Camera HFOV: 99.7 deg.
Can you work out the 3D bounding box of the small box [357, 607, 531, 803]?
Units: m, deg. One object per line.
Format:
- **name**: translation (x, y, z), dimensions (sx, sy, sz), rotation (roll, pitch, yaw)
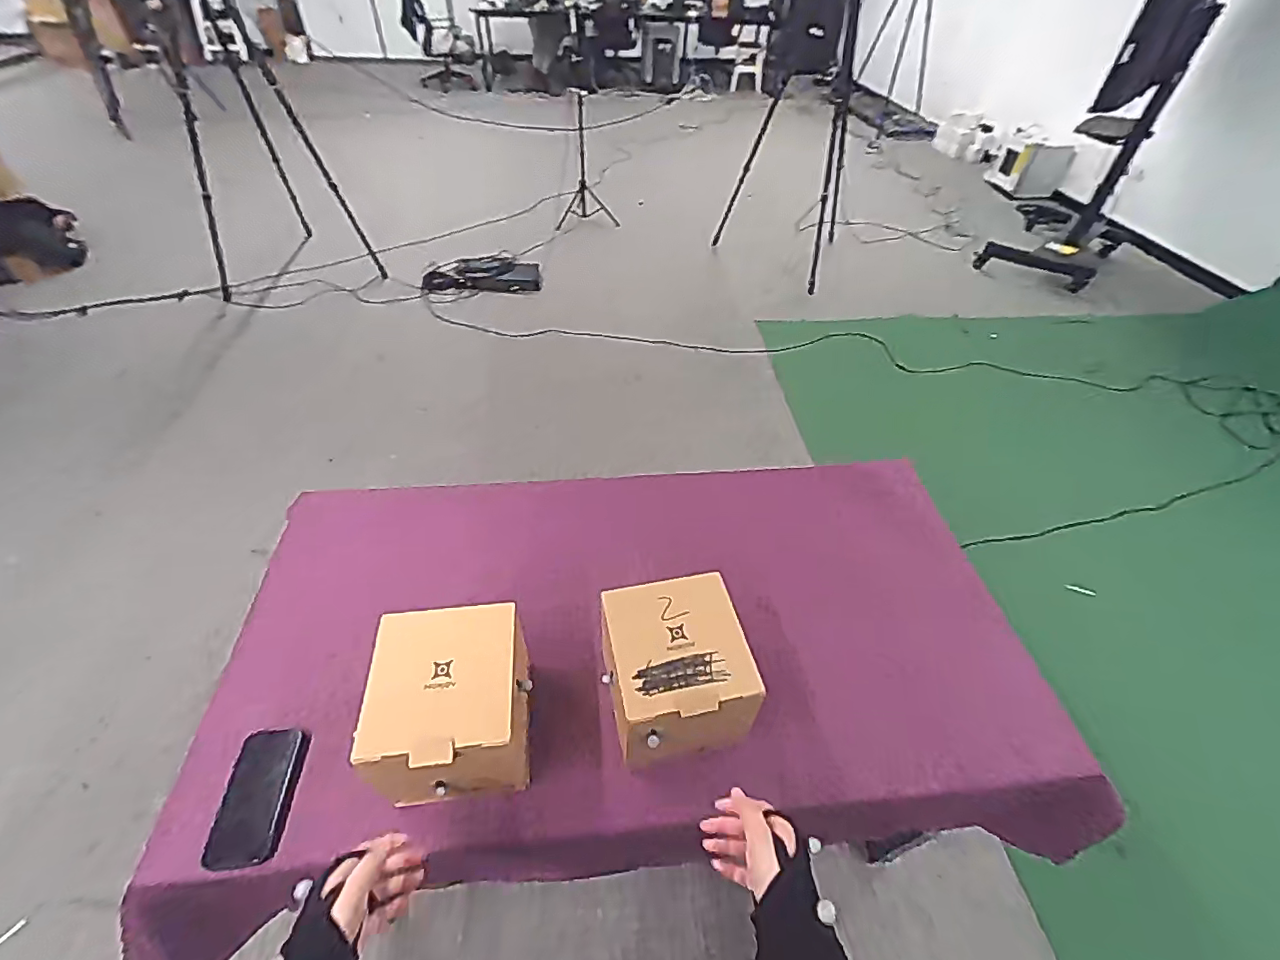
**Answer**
- **small box**: translation (-0.232, 0.286, 0.691), dimensions (0.168, 0.176, 0.179), rotation (-4, 47, -7)
